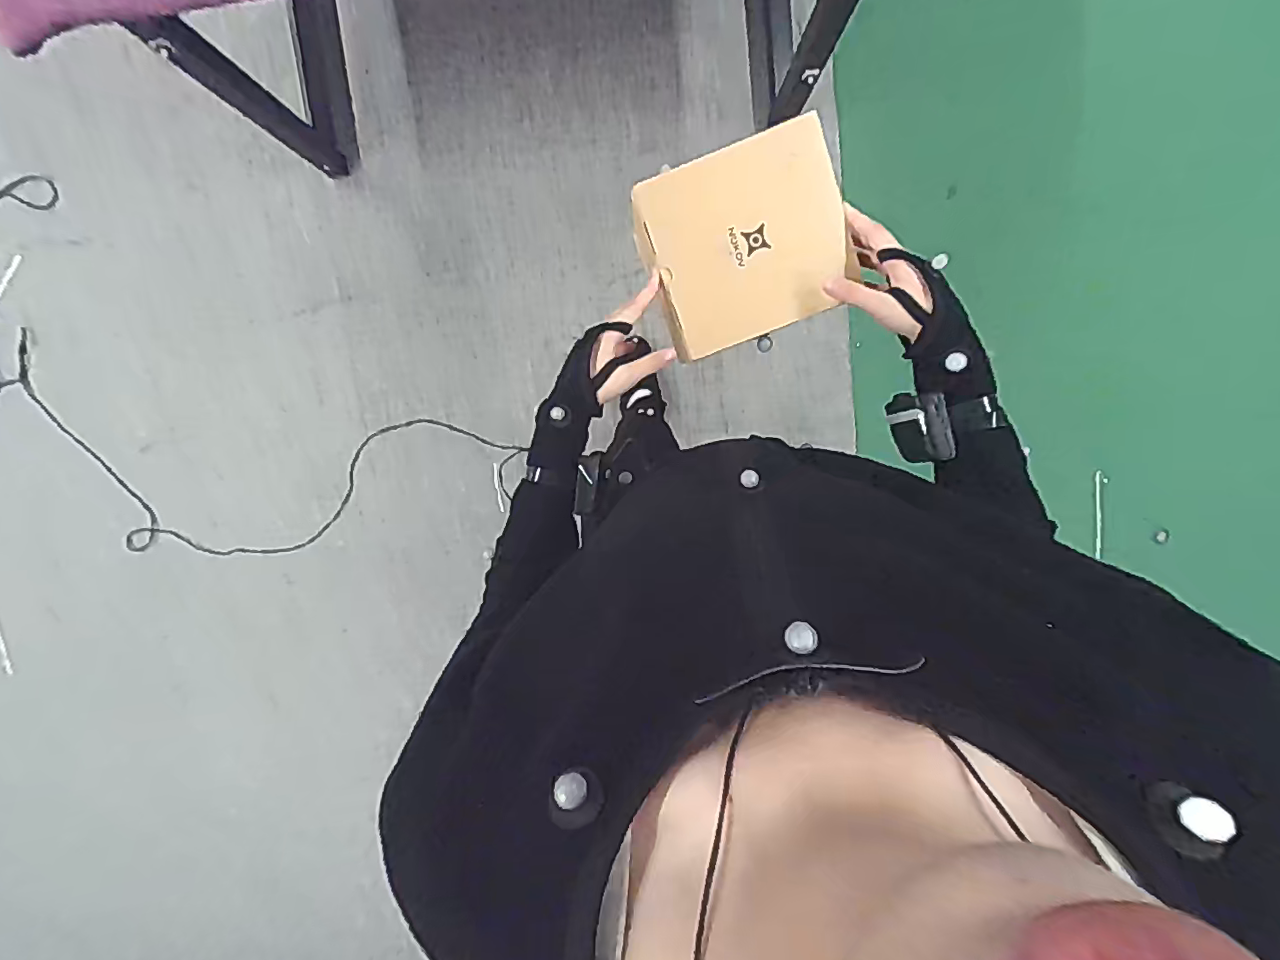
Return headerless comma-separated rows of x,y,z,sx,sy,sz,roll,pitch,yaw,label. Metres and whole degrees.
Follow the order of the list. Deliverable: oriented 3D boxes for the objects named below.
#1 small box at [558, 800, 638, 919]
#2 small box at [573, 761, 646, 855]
-0.097,0.913,1.320,0.168,0.176,0.179,-7,96,3,small box
-0.082,0.901,1.483,0.179,0.176,0.168,-11,96,4,small box
